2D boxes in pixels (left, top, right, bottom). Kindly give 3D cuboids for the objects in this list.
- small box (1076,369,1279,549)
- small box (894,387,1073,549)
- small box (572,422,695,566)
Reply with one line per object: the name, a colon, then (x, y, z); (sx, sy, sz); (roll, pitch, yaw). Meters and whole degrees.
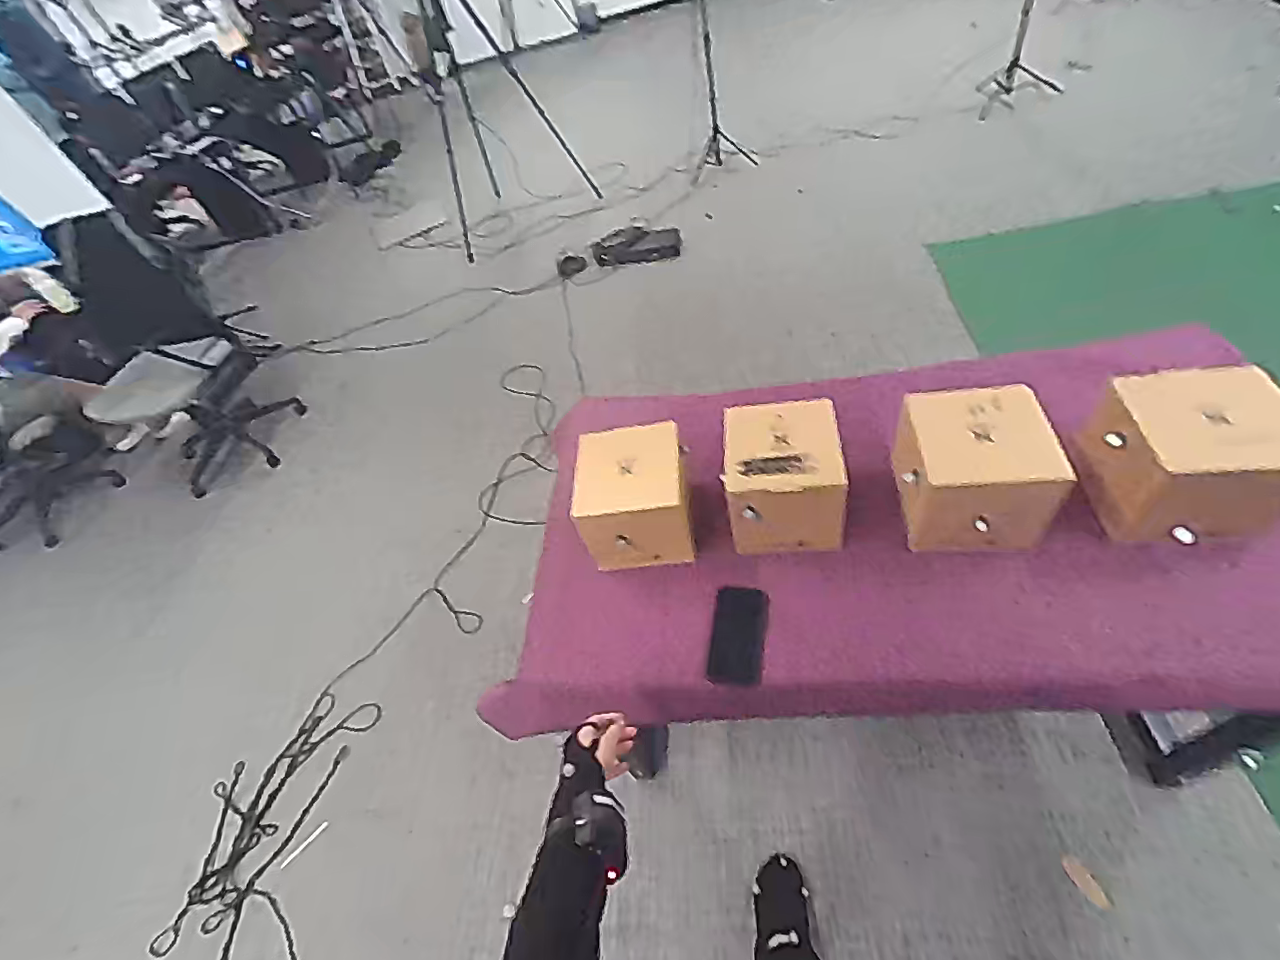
small box: (0.737, -0.026, 0.733); (0.168, 0.176, 0.179); (-2, 50, 16)
small box: (0.484, -0.011, 0.794); (0.168, 0.176, 0.179); (-3, 50, 14)
small box: (-0.003, 0.032, 0.902); (0.168, 0.176, 0.179); (-8, 48, 10)
